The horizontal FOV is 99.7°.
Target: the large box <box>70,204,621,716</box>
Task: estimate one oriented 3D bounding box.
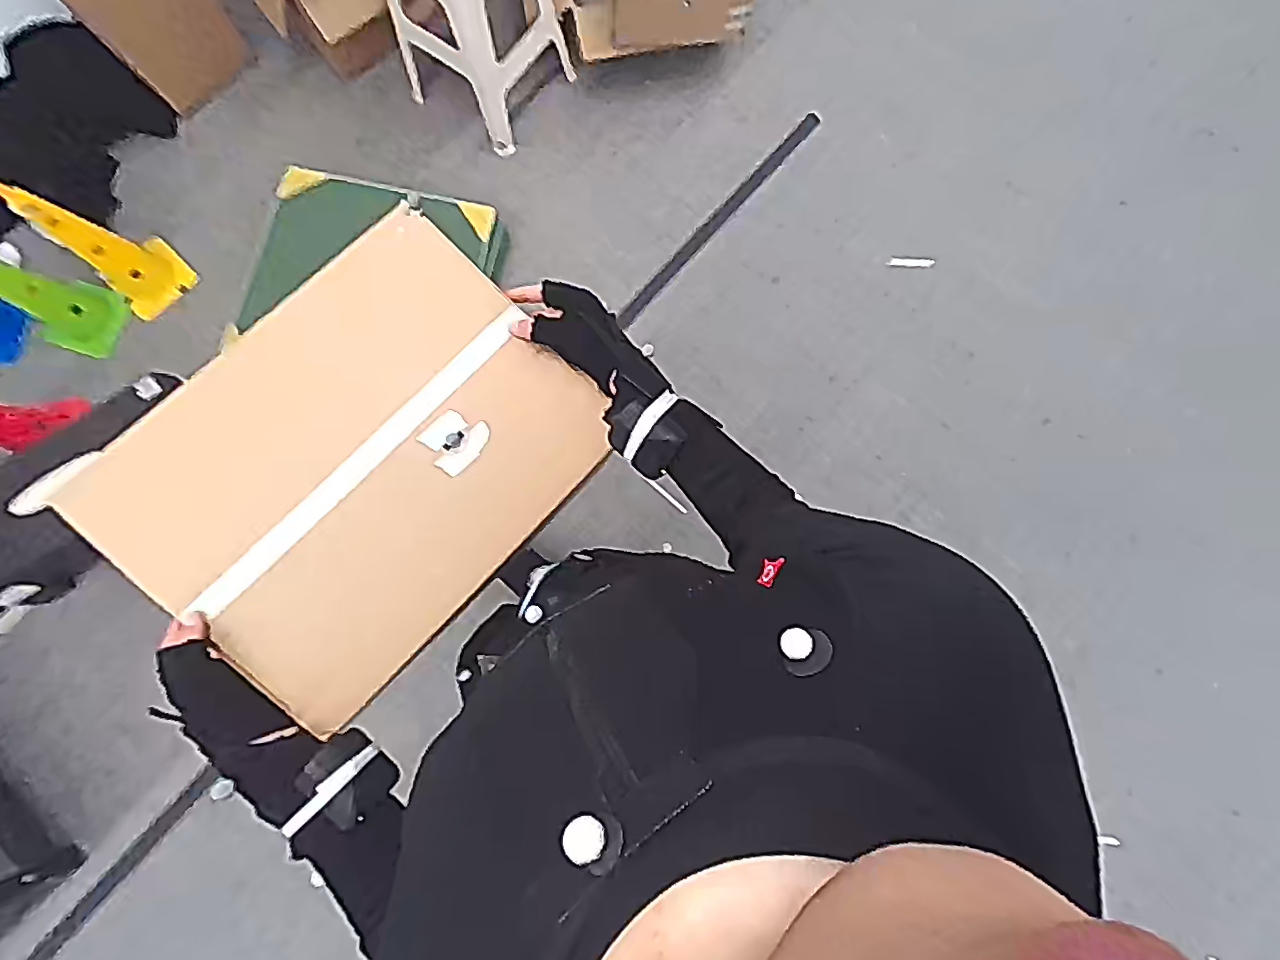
[{"bbox_3d":[-0.282,-0.015,0.656,0.320,0.320,0.408,44,79,-4],"label":"large box"}]
